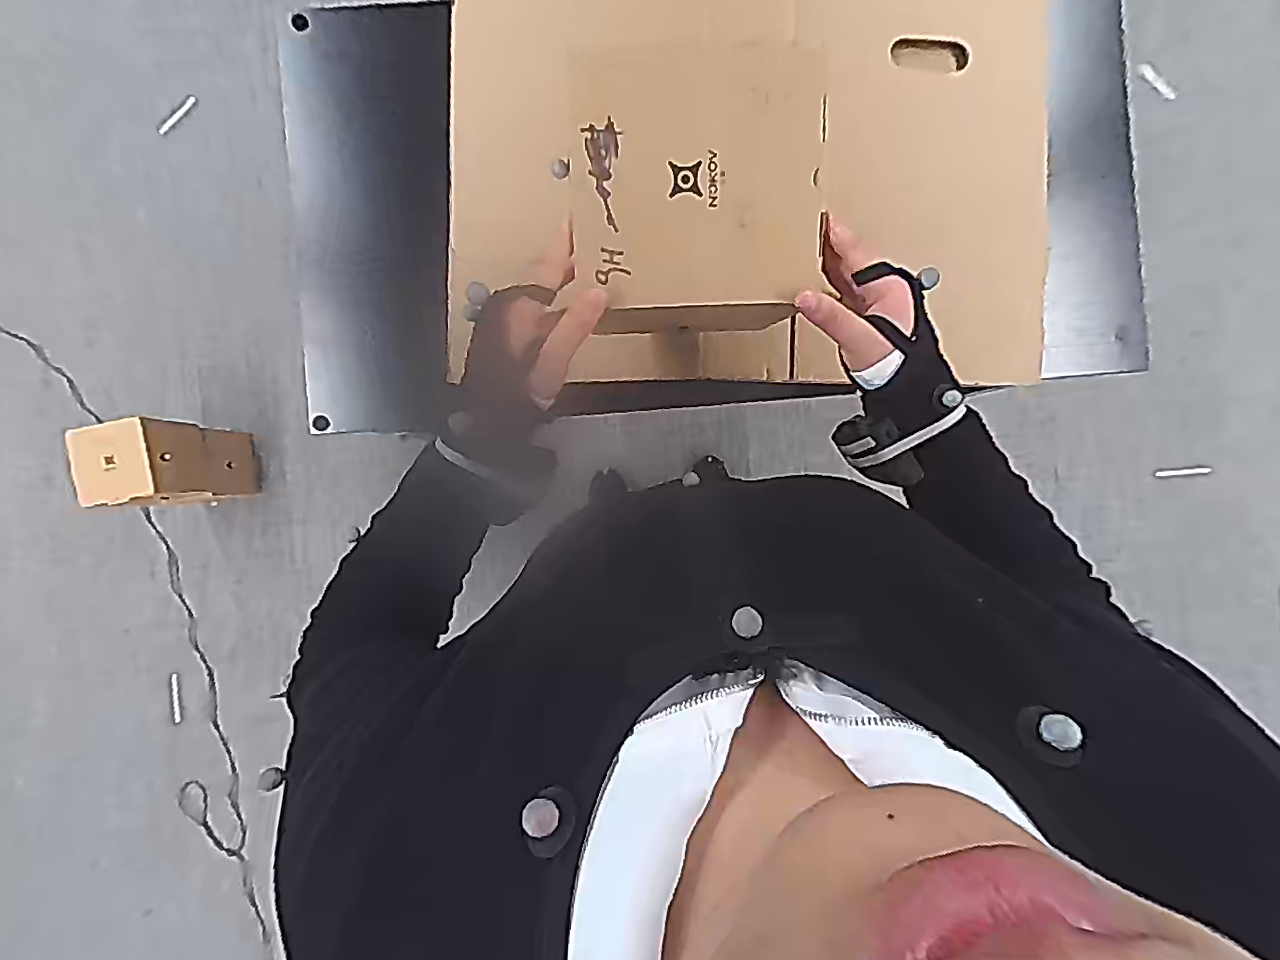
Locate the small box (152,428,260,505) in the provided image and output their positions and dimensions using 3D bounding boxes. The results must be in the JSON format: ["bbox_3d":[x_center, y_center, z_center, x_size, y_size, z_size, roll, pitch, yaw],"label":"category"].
[{"bbox_3d":[-1.142,-0.034,1.418,0.168,0.176,0.179,-9,91,0],"label":"small box"}]

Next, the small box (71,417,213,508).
[{"bbox_3d":[-1.142,-0.039,1.255,0.168,0.176,0.179,-11,90,-1],"label":"small box"}]

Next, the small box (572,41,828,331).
[{"bbox_3d":[0.038,-0.220,0.450,0.179,0.176,0.168,-2,98,-3],"label":"small box"}]
